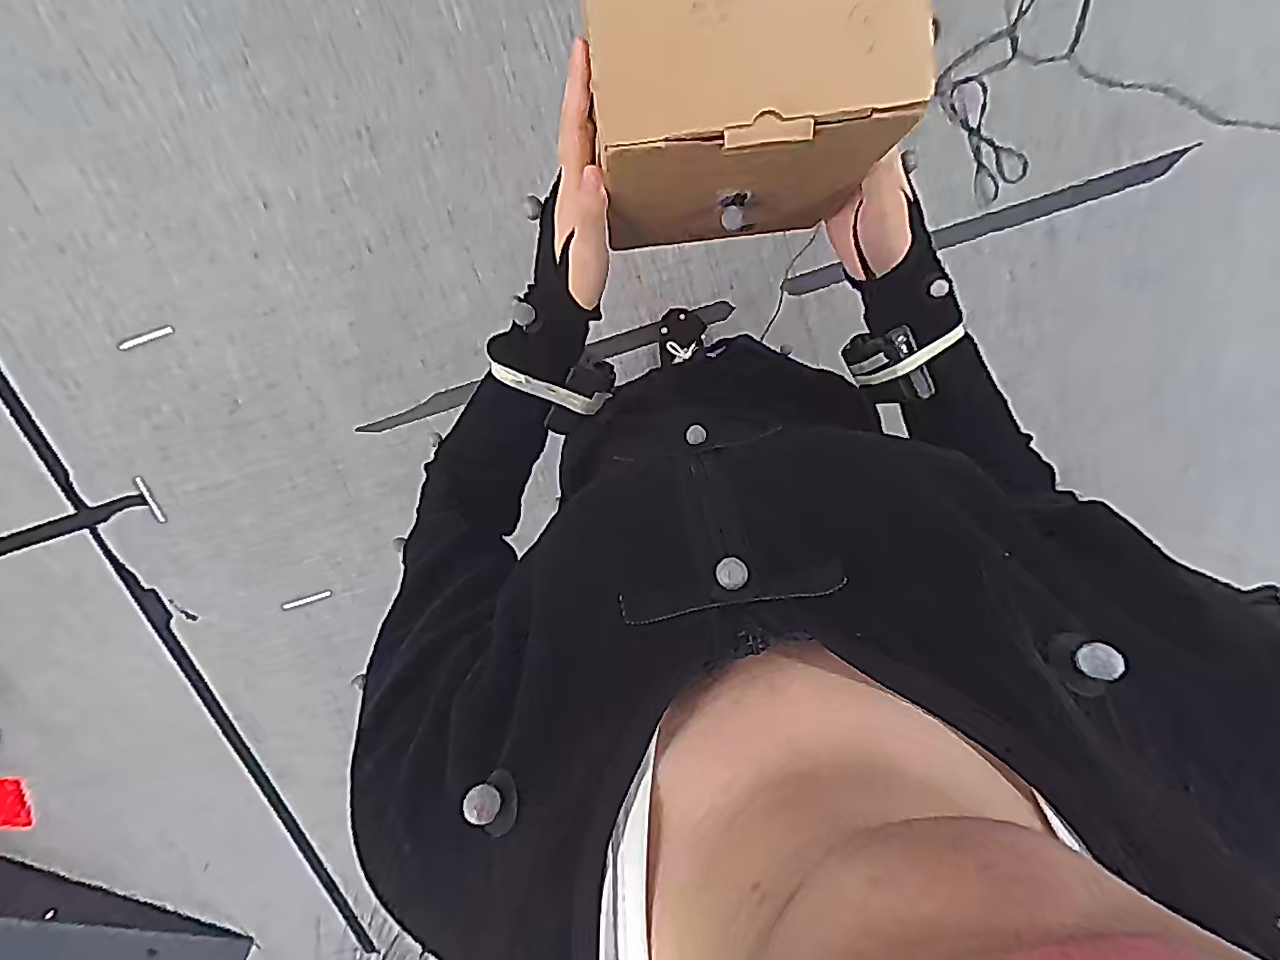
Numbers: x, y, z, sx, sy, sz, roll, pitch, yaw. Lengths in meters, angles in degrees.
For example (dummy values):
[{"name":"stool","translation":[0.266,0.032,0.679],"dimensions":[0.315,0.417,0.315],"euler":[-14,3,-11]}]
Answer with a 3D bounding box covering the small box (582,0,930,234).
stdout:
[{"name":"small box","translation":[0.051,-0.267,0.334],"dimensions":[0.168,0.176,0.179],"euler":[-8,98,-1]}]
